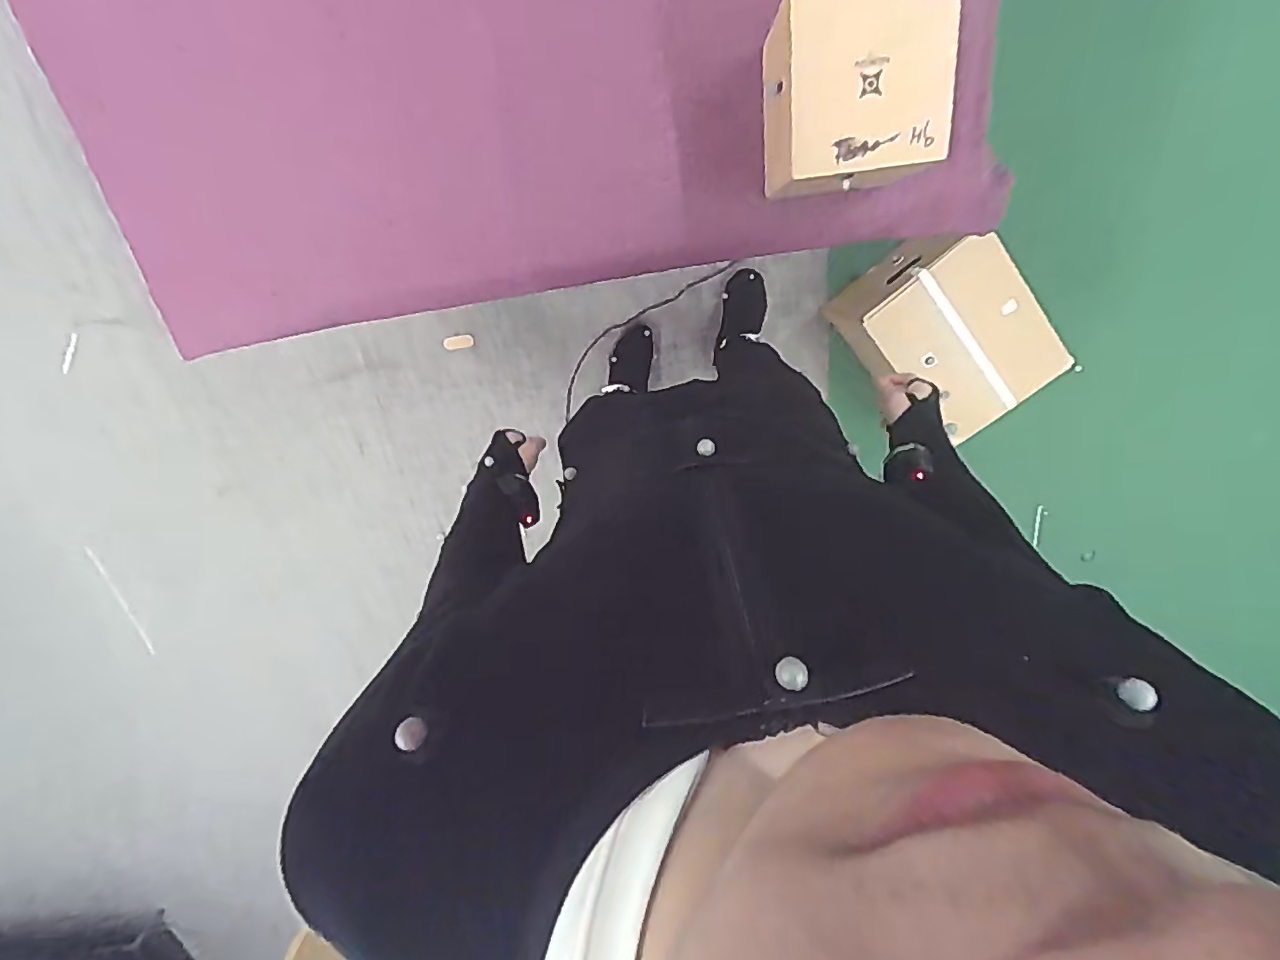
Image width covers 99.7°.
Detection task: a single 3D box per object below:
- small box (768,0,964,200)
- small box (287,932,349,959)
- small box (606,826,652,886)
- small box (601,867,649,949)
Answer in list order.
[{"bbox_3d":[0.244,-0.441,0.626,0.168,0.176,0.179,-4,109,6],"label":"small box"},{"bbox_3d":[-1.113,1.668,1.809,0.168,0.176,0.179,35,110,-12],"label":"small box"},{"bbox_3d":[-0.040,1.536,2.175,0.168,0.176,0.179,0,111,6],"label":"small box"},{"bbox_3d":[-0.053,1.602,2.026,0.168,0.176,0.179,3,111,4],"label":"small box"}]
